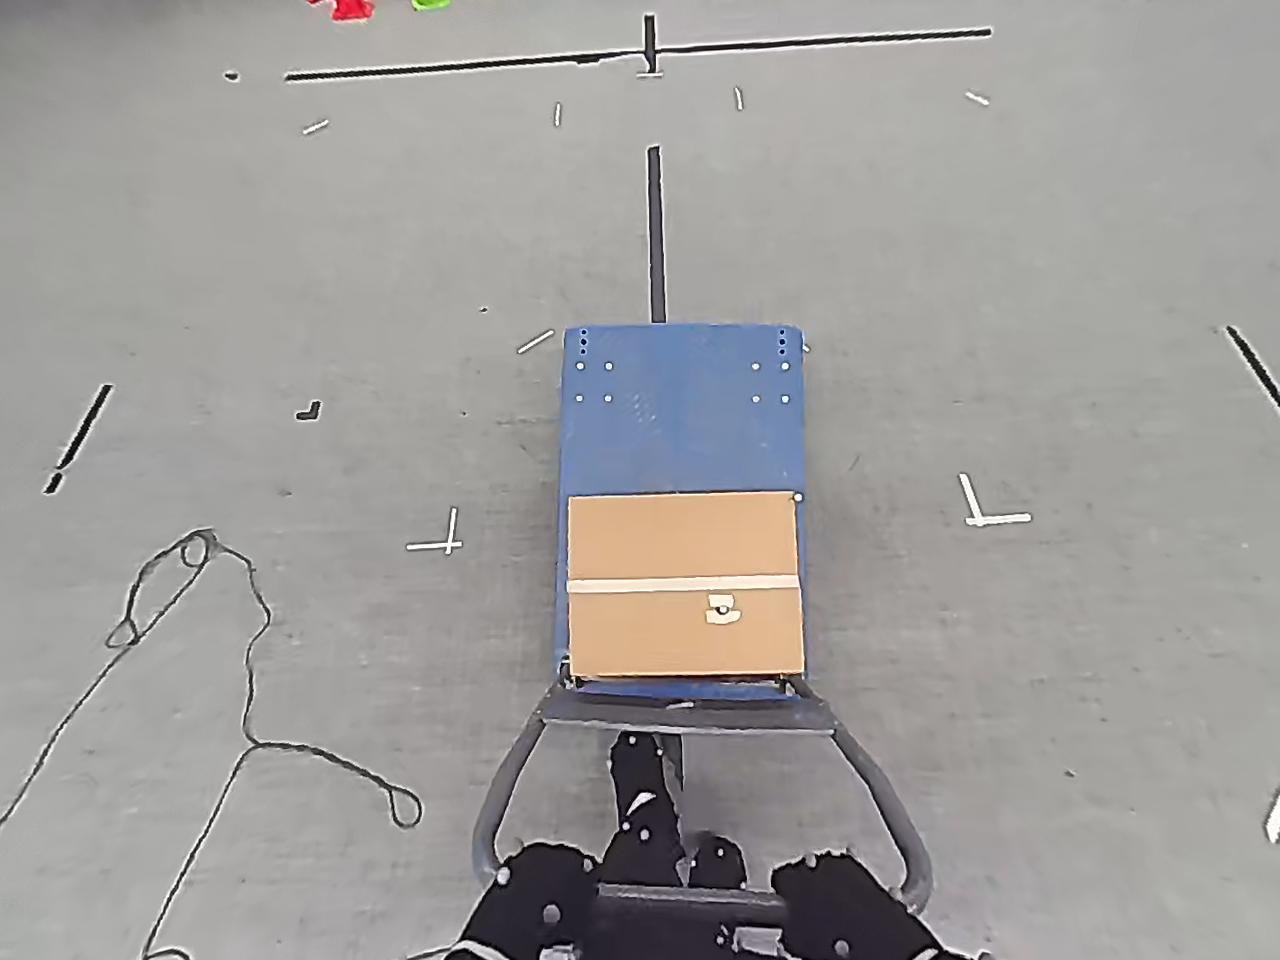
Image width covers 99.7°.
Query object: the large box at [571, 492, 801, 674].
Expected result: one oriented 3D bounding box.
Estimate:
[{"bbox_3d":[0.081,0.201,1.115,0.408,0.320,0.320,-2,84,1],"label":"large box"}]
